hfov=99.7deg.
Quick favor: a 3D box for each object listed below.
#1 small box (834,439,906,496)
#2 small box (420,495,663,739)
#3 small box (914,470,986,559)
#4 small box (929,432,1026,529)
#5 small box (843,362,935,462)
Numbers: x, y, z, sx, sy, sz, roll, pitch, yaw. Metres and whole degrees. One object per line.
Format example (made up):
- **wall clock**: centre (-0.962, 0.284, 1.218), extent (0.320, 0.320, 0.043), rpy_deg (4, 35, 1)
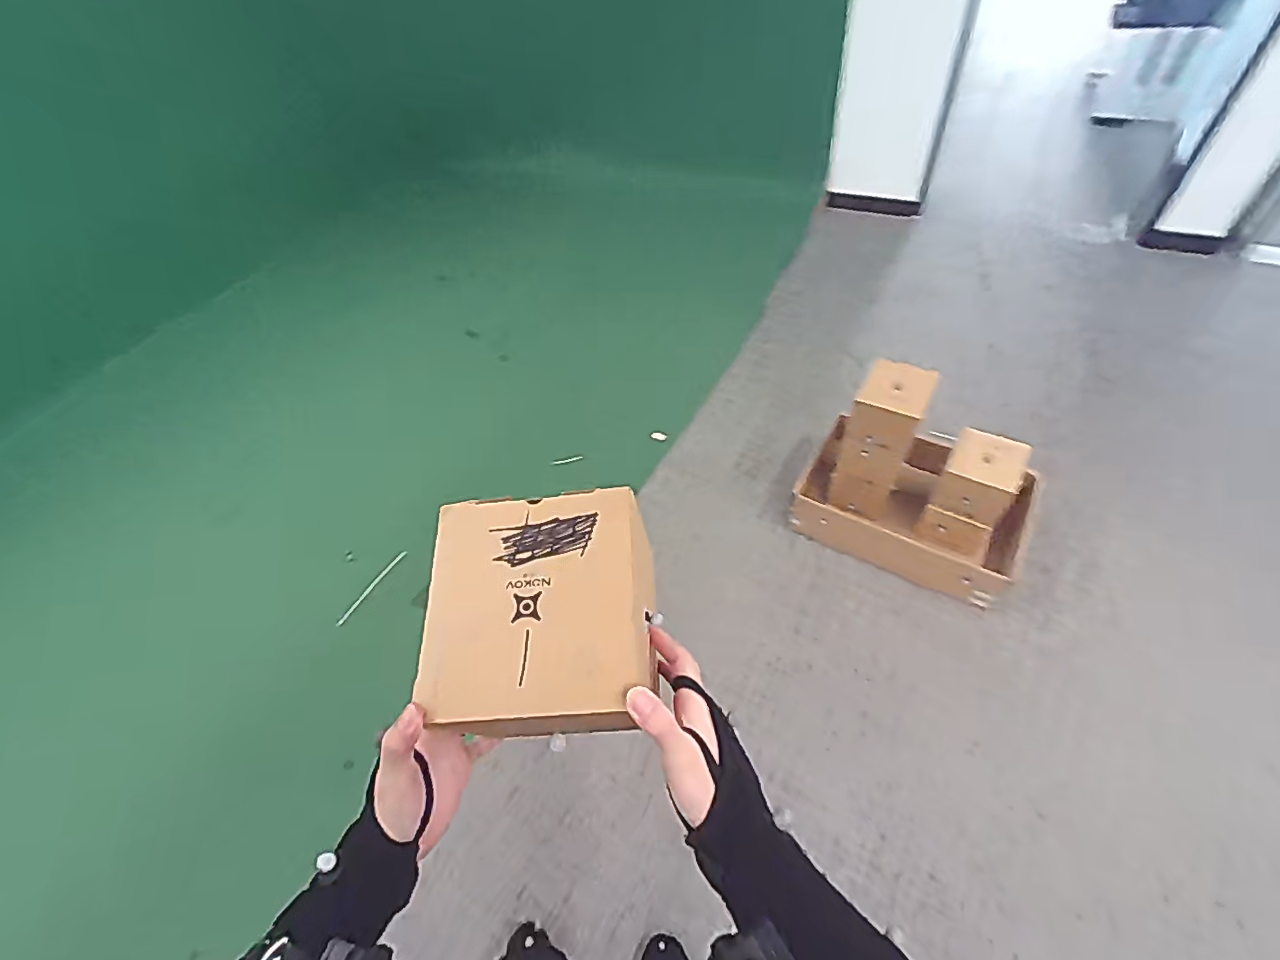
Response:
- **small box**: centre (0.686, -0.086, 1.592), extent (0.168, 0.176, 0.179), rpy_deg (23, 60, 24)
- **small box**: centre (-0.069, 0.131, 0.489), extent (0.168, 0.176, 0.179), rpy_deg (-5, 61, 6)
- **small box**: centre (0.939, 0.106, 1.614), extent (0.168, 0.176, 0.179), rpy_deg (24, 60, 26)
- **small box**: centre (0.918, 0.005, 1.484), extent (0.168, 0.176, 0.179), rpy_deg (24, 60, 26)
- **small box**: centre (0.666, -0.181, 1.460), extent (0.168, 0.176, 0.179), rpy_deg (23, 61, 24)
